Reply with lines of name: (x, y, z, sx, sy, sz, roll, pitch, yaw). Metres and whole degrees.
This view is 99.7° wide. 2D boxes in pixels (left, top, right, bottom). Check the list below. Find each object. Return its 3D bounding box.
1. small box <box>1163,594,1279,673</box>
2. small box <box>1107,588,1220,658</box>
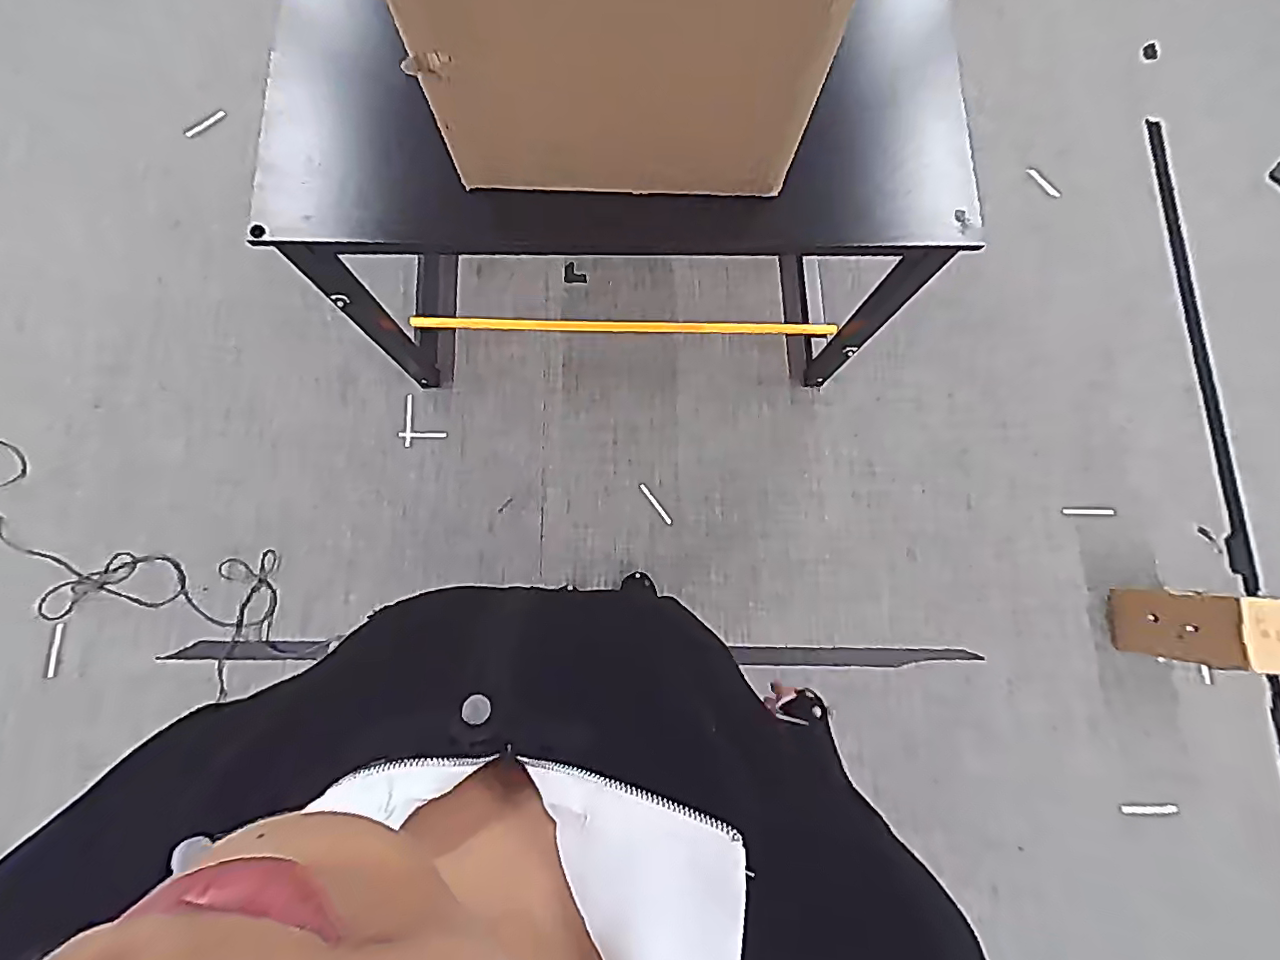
small box: (1.424, 0.363, 1.296, 0.179, 0.176, 0.168, 4, 80, -1)
small box: (1.413, 0.384, 1.460, 0.168, 0.176, 0.179, 4, 81, -1)
